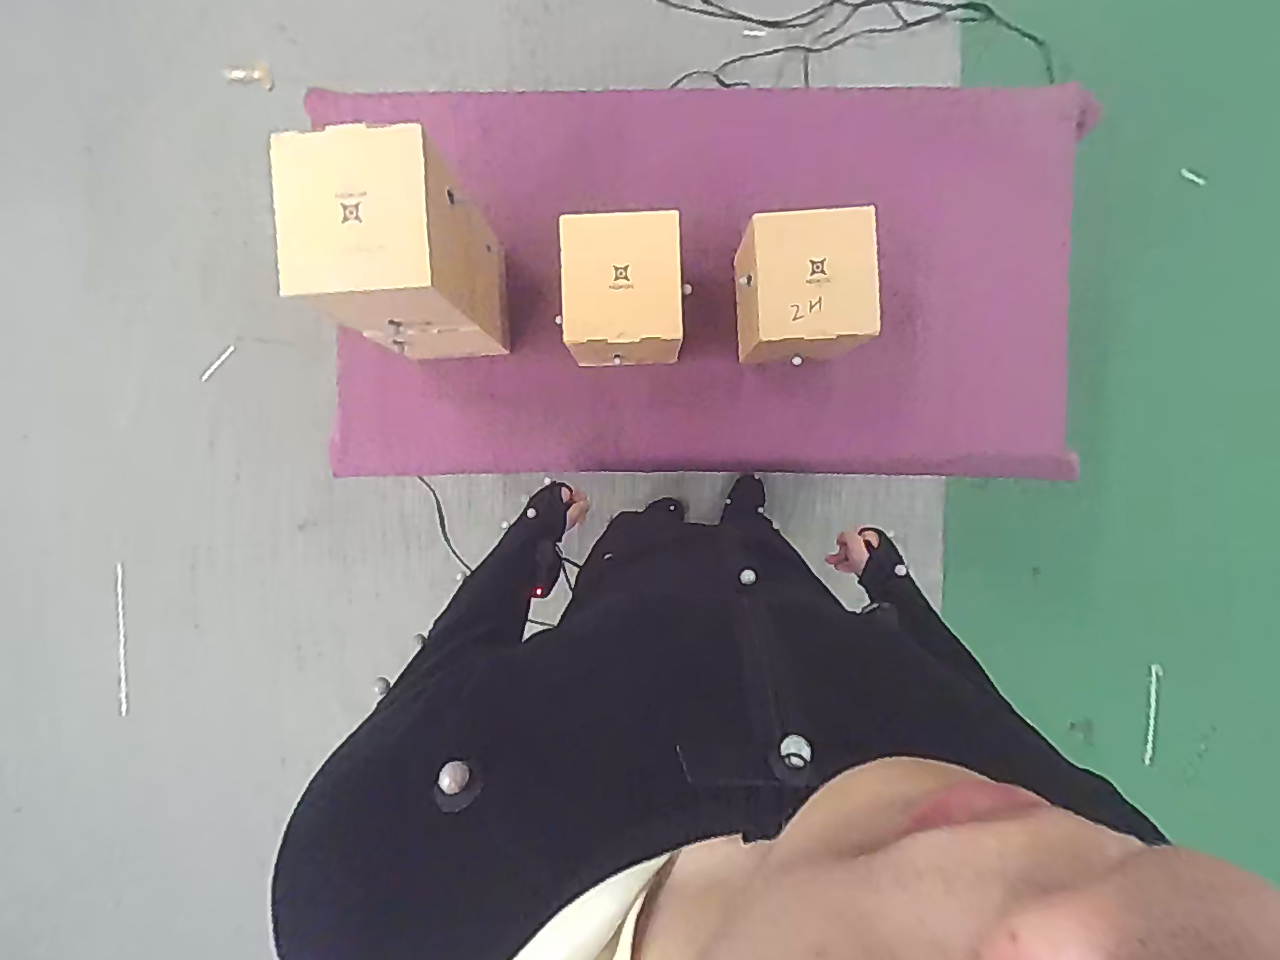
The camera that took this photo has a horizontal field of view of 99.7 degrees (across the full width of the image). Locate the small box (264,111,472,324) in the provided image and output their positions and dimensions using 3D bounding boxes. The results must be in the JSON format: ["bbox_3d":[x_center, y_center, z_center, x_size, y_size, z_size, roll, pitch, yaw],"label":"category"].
[{"bbox_3d":[-0.308,-0.298,0.646,0.168,0.176,0.179,-3,92,0],"label":"small box"}]

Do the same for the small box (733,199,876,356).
[{"bbox_3d":[0.235,-0.292,0.811,0.168,0.176,0.179,-3,92,1],"label":"small box"}]

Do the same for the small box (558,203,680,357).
[{"bbox_3d":[-0.030,-0.290,0.813,0.168,0.176,0.179,-2,93,0],"label":"small box"}]
